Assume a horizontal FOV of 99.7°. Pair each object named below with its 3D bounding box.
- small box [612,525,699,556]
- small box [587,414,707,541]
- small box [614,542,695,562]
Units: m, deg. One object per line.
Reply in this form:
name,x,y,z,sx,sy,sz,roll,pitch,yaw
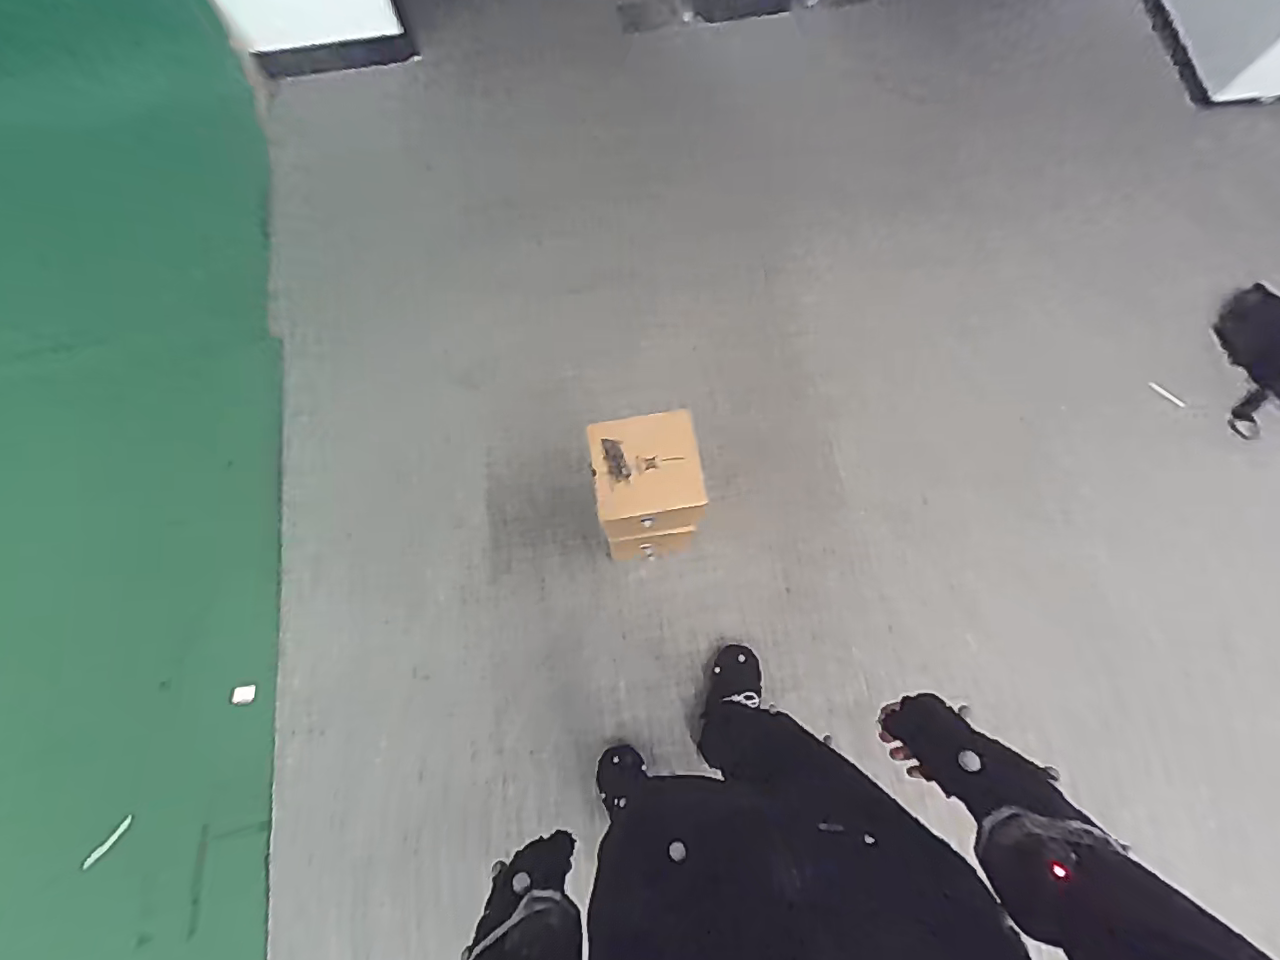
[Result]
small box,0.022,0.049,1.099,0.168,0.176,0.179,-8,76,1
small box,0.014,0.004,0.941,0.179,0.176,0.168,-9,74,0
small box,0.025,0.095,1.255,0.179,0.176,0.168,-6,74,0
